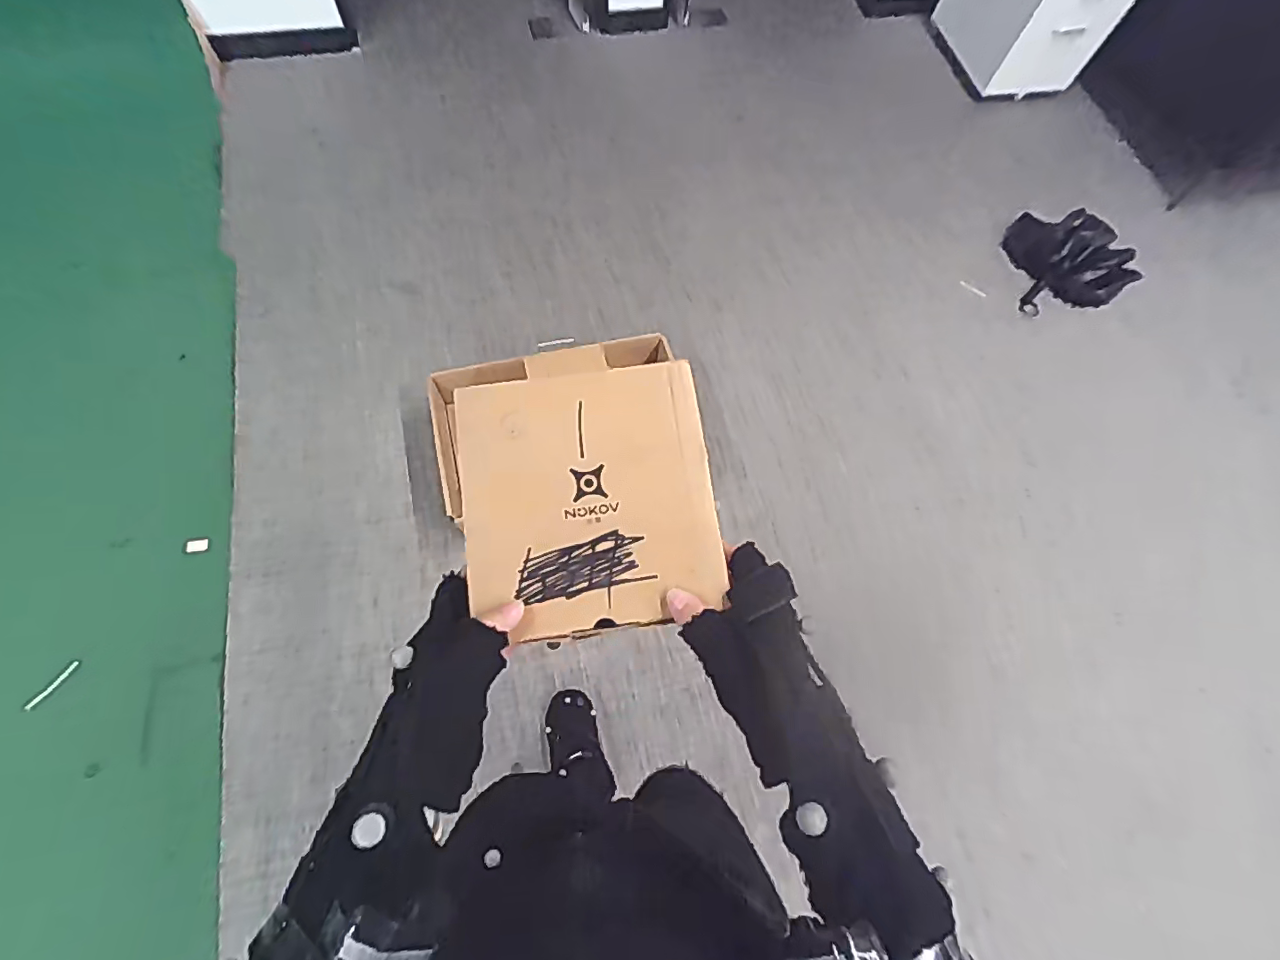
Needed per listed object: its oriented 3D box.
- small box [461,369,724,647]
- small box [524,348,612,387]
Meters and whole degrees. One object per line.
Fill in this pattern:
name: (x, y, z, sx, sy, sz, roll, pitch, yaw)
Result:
small box: (-0.036, 0.031, 0.443, 0.168, 0.176, 0.179, -7, 77, -3)
small box: (-0.148, -0.163, 1.201, 0.179, 0.176, 0.168, -16, 69, -12)
